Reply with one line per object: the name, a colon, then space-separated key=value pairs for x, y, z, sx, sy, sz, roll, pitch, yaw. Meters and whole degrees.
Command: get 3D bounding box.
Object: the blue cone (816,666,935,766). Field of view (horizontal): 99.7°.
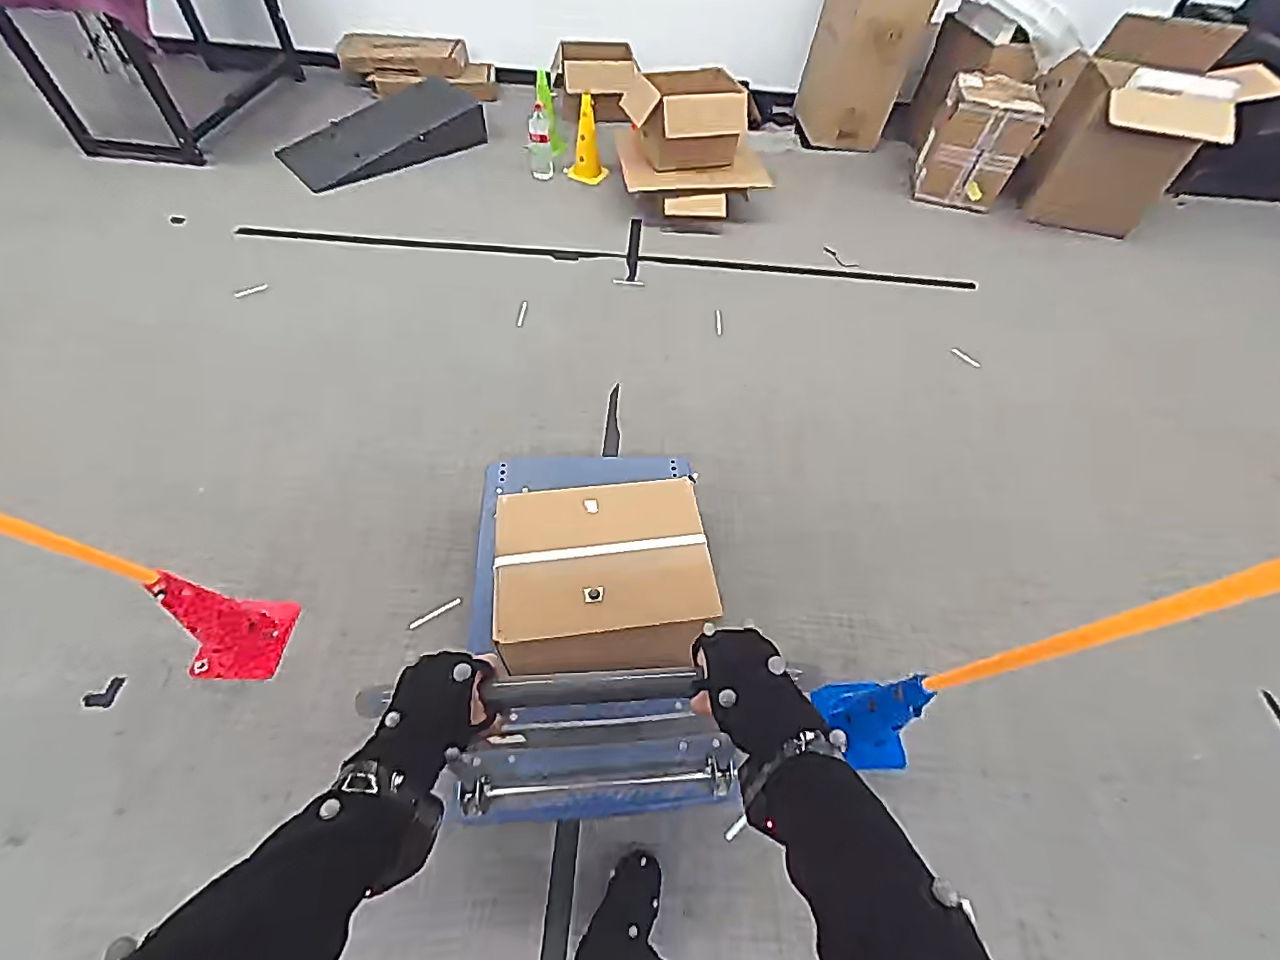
blue cone: x=0.555 y=0.502 z=1.206 sx=0.193 sy=0.380 sz=0.192 roll=1 pitch=53 yaw=-4
